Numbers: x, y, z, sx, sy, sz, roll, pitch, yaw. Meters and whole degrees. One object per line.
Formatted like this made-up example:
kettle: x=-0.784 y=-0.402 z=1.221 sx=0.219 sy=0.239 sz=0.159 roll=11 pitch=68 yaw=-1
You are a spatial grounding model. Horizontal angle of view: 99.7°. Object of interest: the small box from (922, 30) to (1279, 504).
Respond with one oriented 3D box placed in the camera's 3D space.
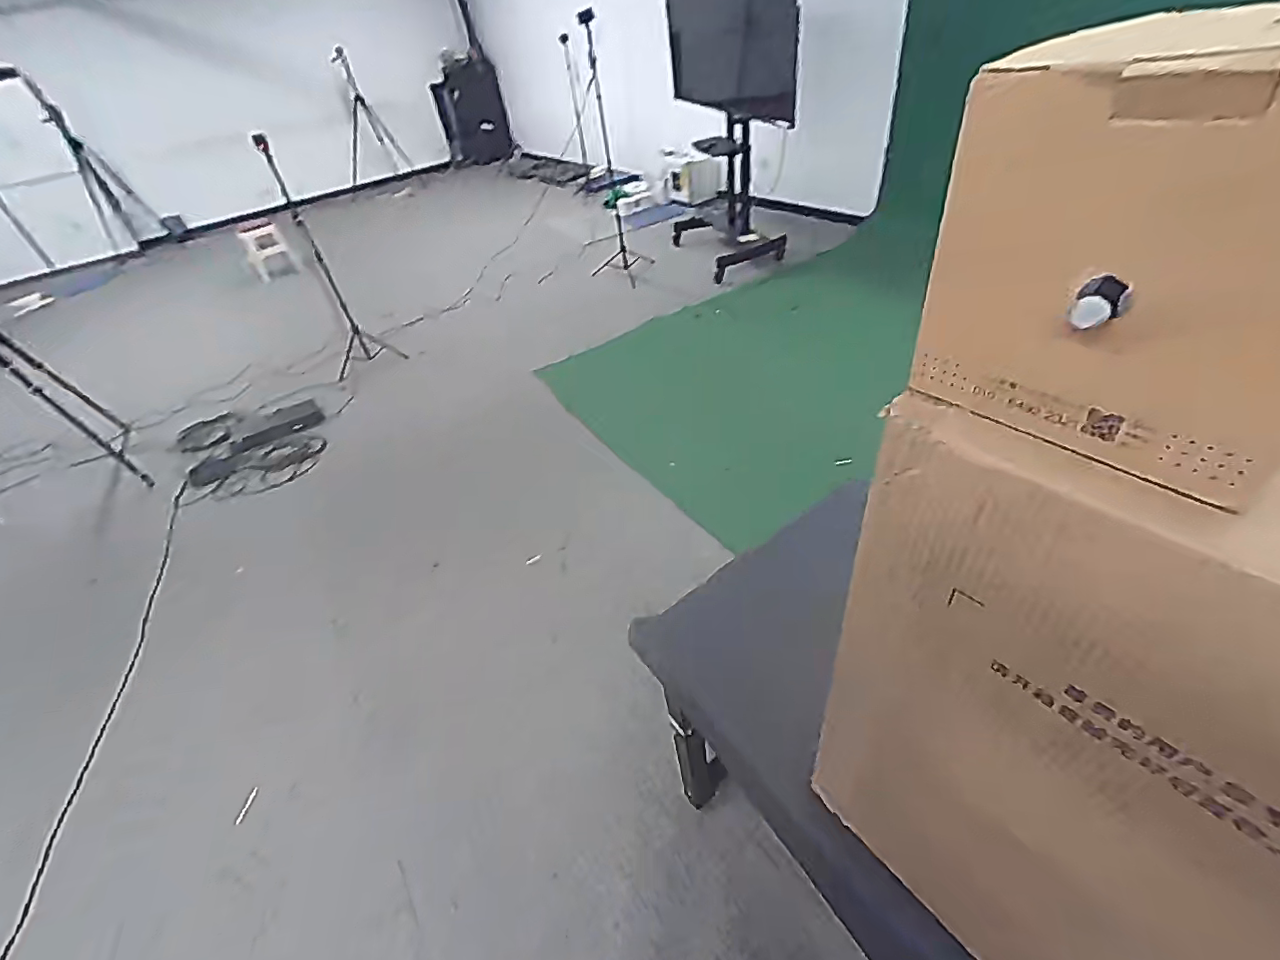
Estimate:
small box: x=0.277 y=-0.117 z=0.283 sx=0.179 sy=0.176 sz=0.168 roll=-30 pitch=44 yaw=-22
